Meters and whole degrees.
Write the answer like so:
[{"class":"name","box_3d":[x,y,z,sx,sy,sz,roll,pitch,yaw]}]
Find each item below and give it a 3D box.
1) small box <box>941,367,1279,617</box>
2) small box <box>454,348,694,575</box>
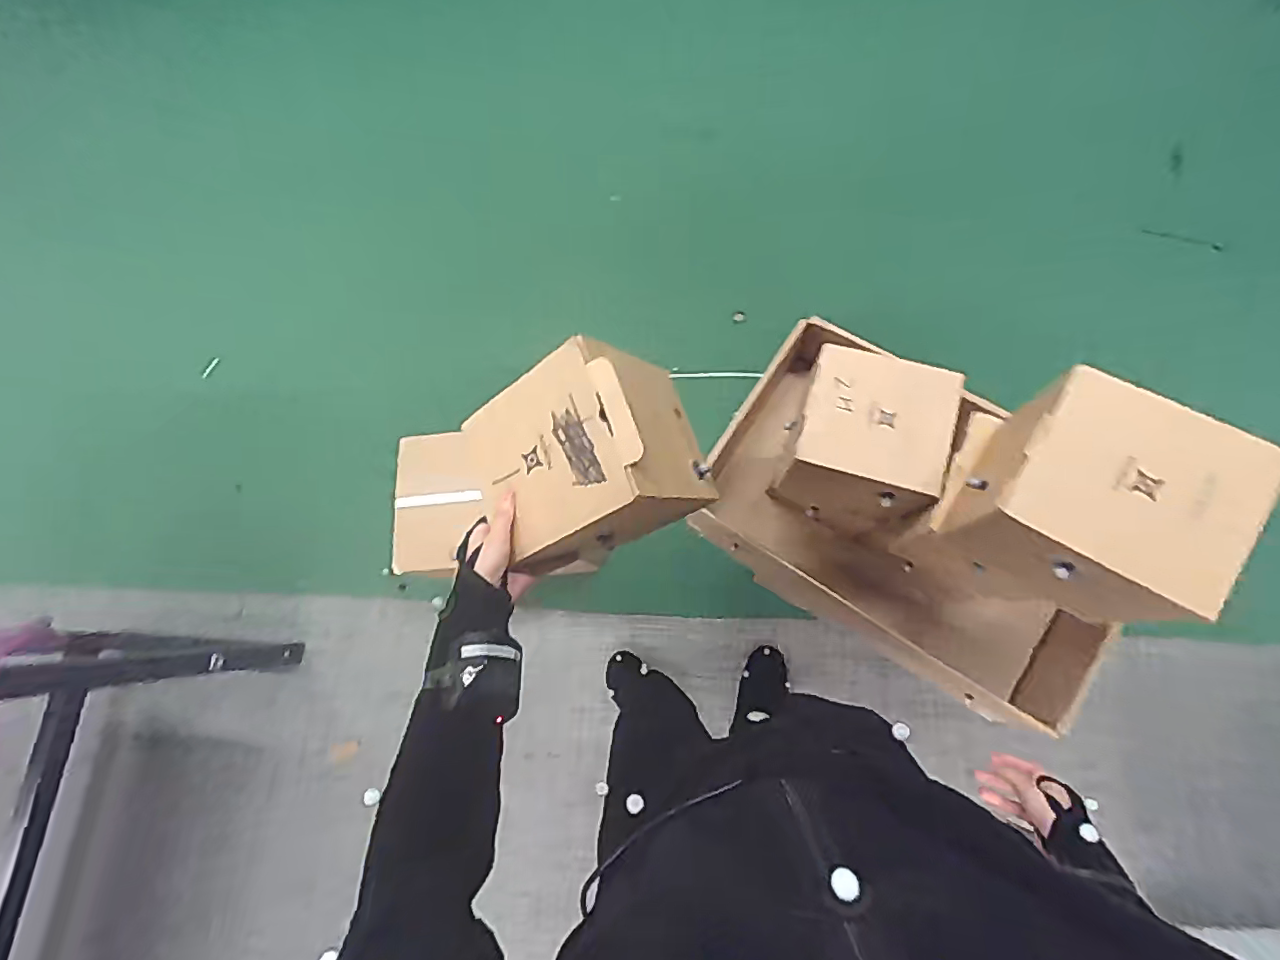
[{"class":"small box","box_3d":[0.441,0.025,0.540,0.179,0.176,0.168,32,82,17]},{"class":"small box","box_3d":[-0.062,-0.012,0.586,0.179,0.176,0.168,-31,71,27]}]
